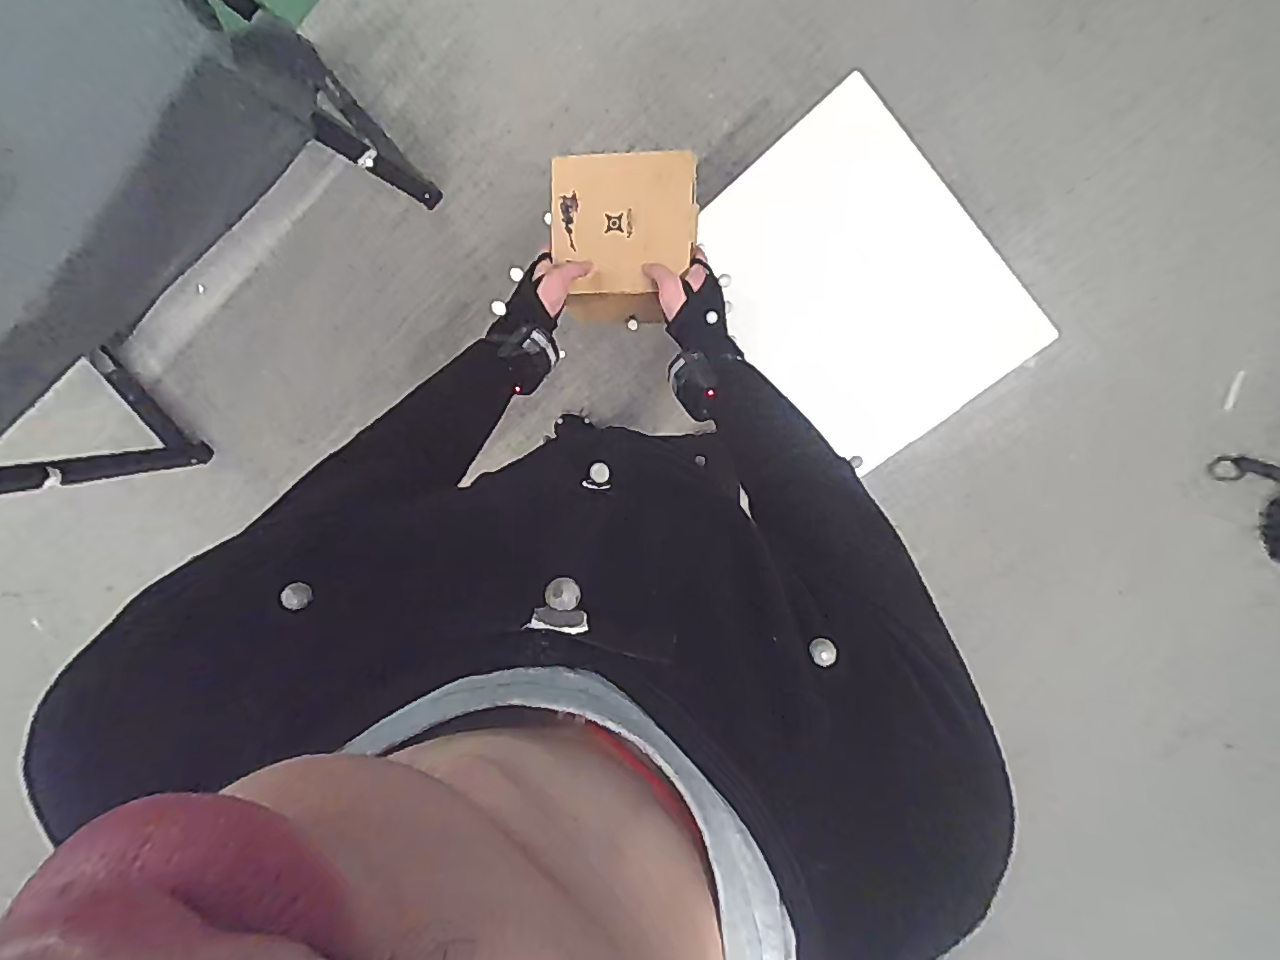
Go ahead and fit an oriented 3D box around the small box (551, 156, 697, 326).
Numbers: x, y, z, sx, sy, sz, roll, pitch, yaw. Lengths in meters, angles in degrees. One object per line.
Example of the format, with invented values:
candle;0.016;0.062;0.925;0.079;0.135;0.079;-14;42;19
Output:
small box;-0.016;-0.308;0.726;0.179;0.176;0.168;1;94;4
